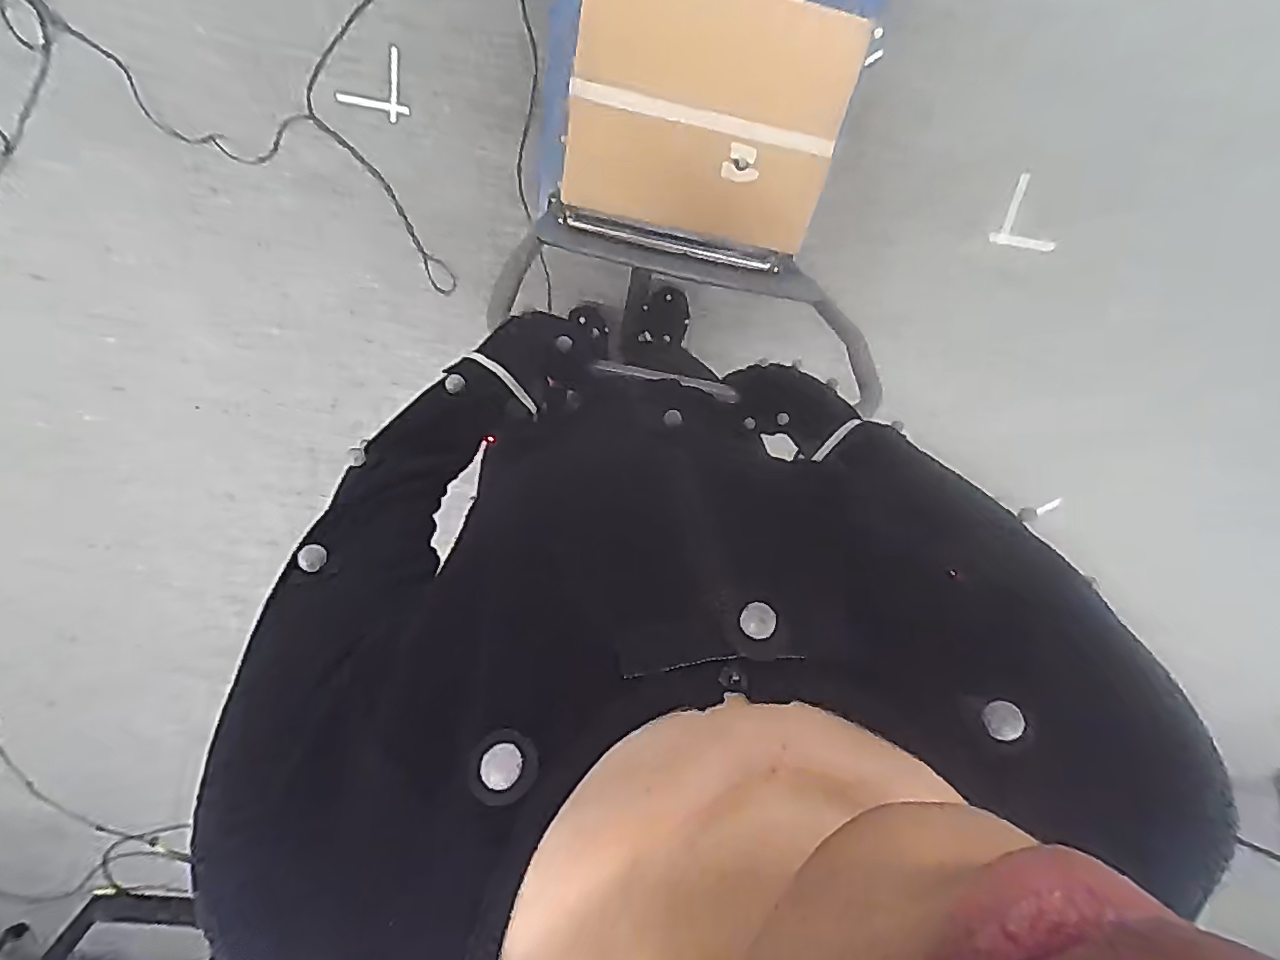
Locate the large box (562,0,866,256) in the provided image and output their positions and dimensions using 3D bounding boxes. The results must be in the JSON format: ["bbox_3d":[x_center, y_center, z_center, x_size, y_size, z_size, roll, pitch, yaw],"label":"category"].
[{"bbox_3d":[0.088,-0.608,0.932,0.408,0.320,0.320,8,122,-7],"label":"large box"}]
